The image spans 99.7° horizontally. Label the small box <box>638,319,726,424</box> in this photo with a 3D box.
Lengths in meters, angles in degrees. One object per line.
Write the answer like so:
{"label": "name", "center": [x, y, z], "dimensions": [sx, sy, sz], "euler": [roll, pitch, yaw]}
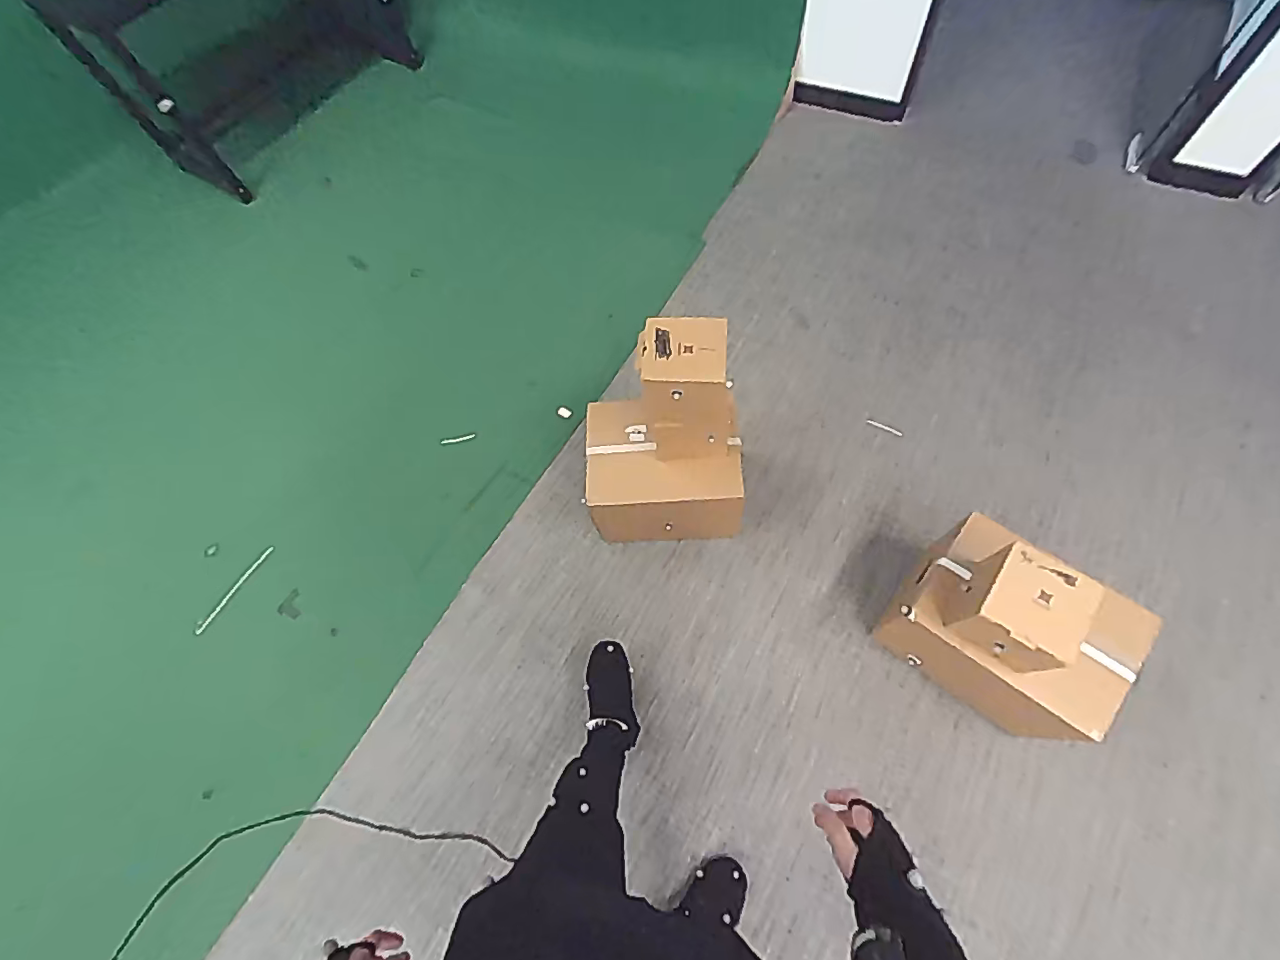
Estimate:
{"label": "small box", "center": [0.096, -0.235, 1.193], "dimensions": [0.179, 0.176, 0.168], "euler": [3, 66, 7]}

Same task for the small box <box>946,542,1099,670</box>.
{"label": "small box", "center": [0.746, 0.259, 1.079], "dimensions": [0.168, 0.176, 0.179], "euler": [33, 74, 19]}

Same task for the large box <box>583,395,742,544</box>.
{"label": "large box", "center": [0.066, -0.015, 1.549], "dimensions": [0.408, 0.320, 0.320], "euler": [-4, 64, 5]}
